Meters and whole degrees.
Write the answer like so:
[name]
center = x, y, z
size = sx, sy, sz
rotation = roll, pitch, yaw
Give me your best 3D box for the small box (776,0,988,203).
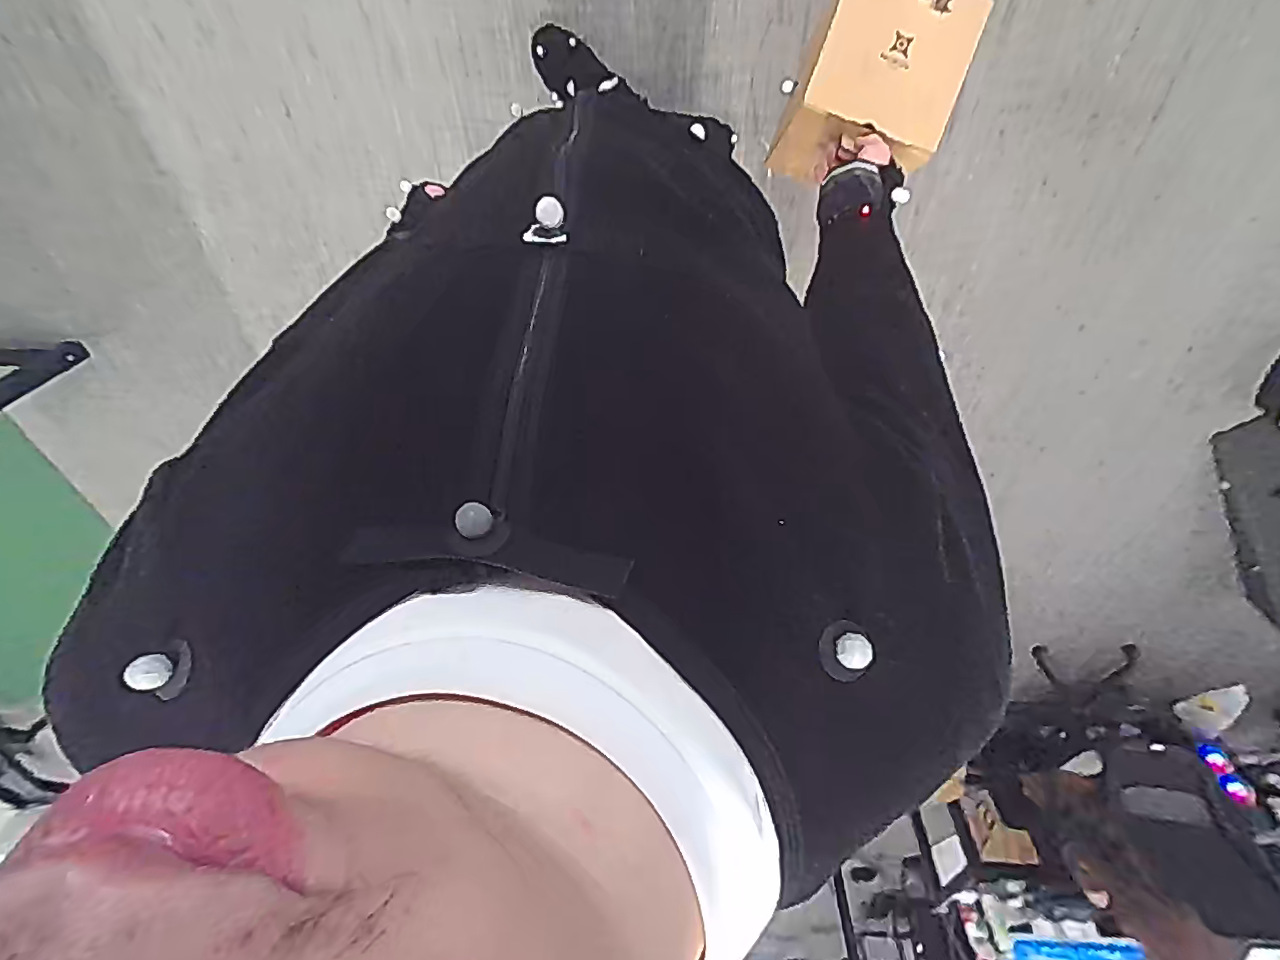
[small box]
center = 0.287, -0.486, 0.689
size = 0.168, 0.176, 0.179
rotation = 17, 96, -2
